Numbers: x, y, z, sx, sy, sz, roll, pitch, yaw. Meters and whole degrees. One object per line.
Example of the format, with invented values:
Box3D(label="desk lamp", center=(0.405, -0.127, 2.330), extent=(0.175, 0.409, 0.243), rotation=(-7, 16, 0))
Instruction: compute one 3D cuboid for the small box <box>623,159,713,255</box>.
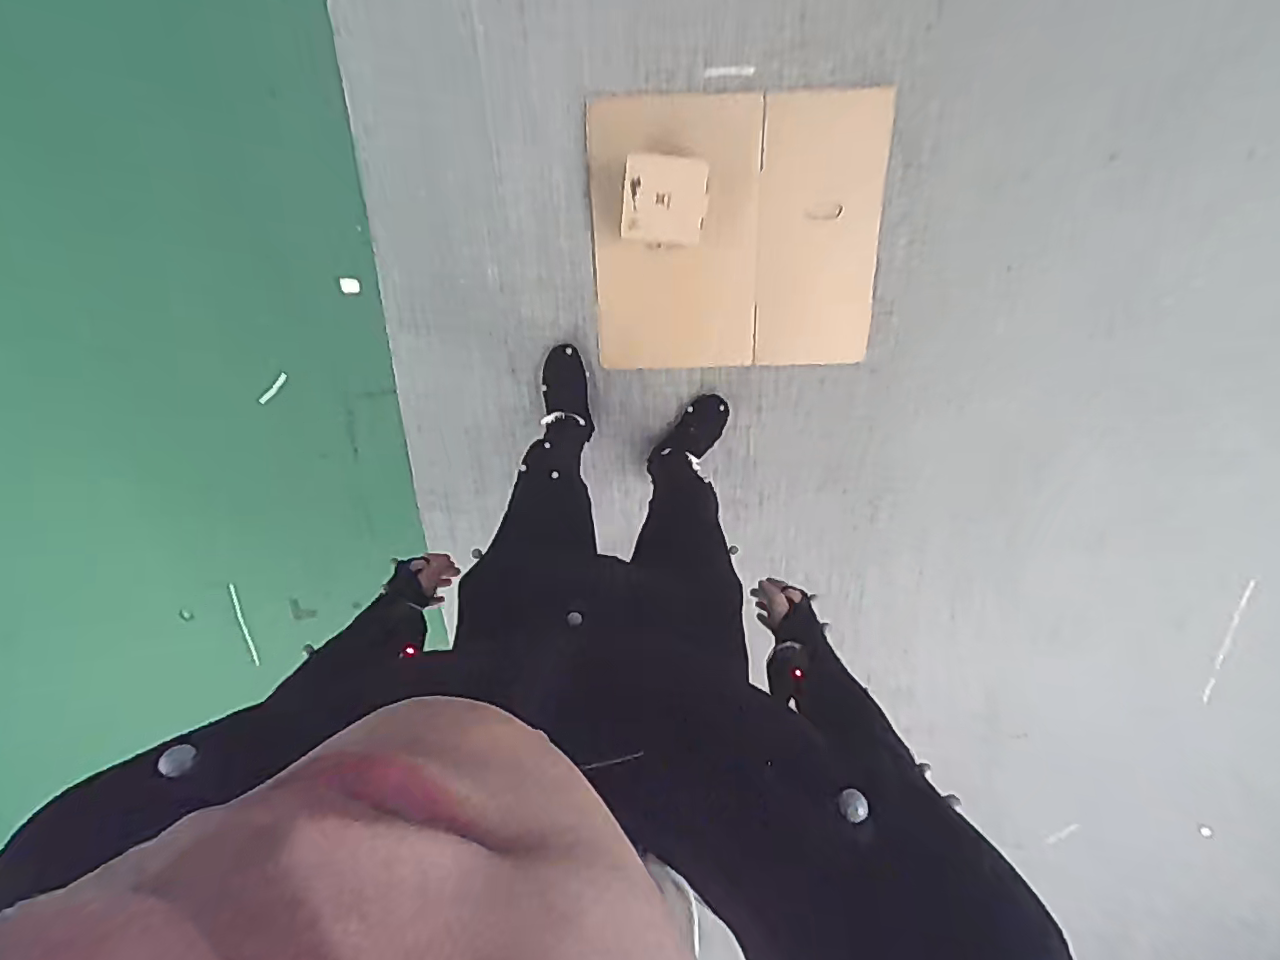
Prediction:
Box3D(label="small box", center=(0.057, -0.608, 1.222), extent=(0.179, 0.176, 0.168), rotation=(6, 110, -2))
